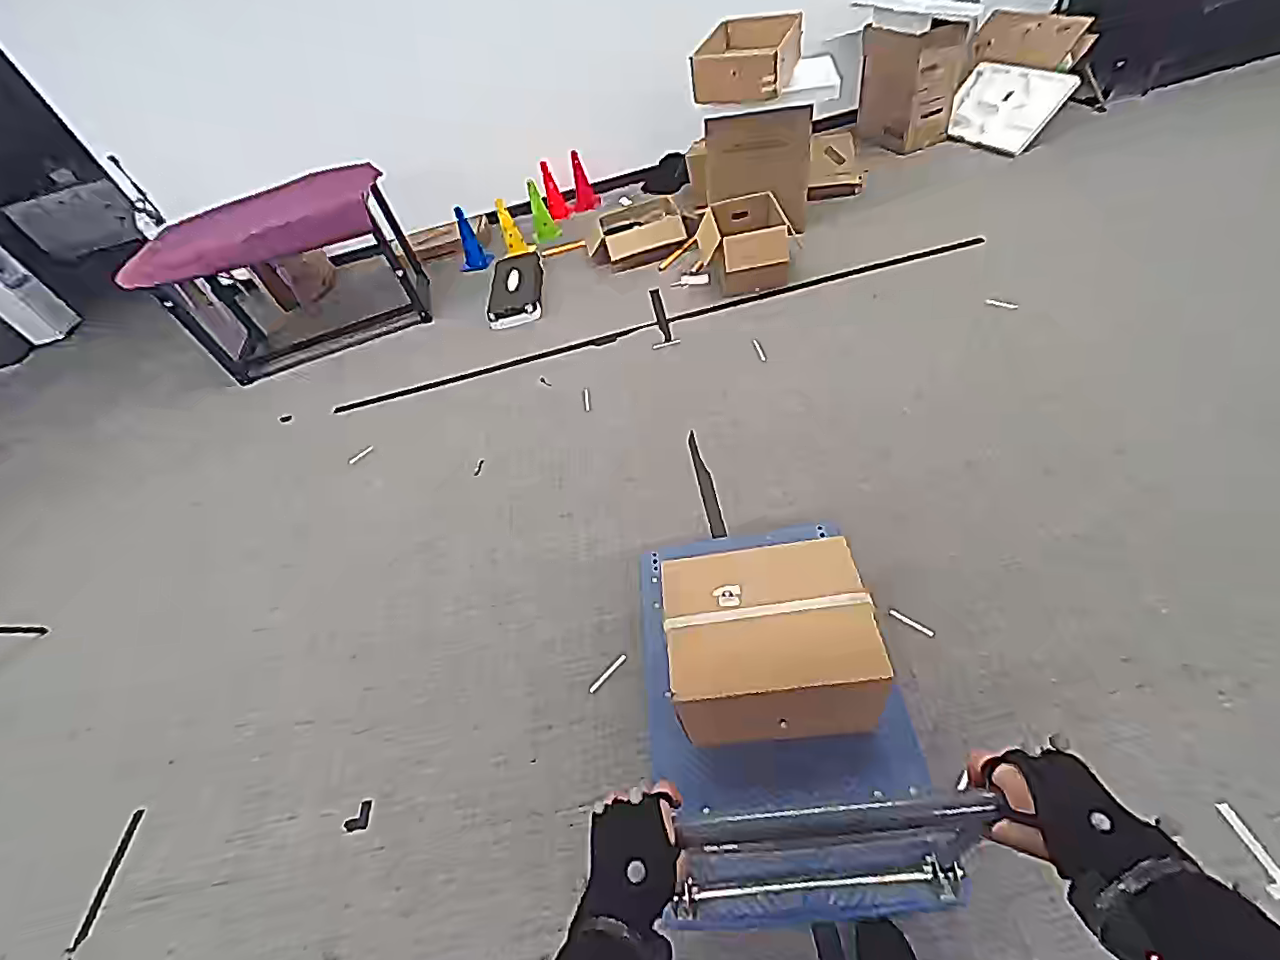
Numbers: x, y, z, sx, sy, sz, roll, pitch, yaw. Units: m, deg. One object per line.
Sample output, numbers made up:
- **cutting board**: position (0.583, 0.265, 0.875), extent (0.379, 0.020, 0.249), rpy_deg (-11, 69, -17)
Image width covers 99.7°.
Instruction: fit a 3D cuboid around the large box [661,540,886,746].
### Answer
- **large box**: position (0.282, 0.376, 1.217), extent (0.408, 0.320, 0.320), rpy_deg (-10, 47, 7)
